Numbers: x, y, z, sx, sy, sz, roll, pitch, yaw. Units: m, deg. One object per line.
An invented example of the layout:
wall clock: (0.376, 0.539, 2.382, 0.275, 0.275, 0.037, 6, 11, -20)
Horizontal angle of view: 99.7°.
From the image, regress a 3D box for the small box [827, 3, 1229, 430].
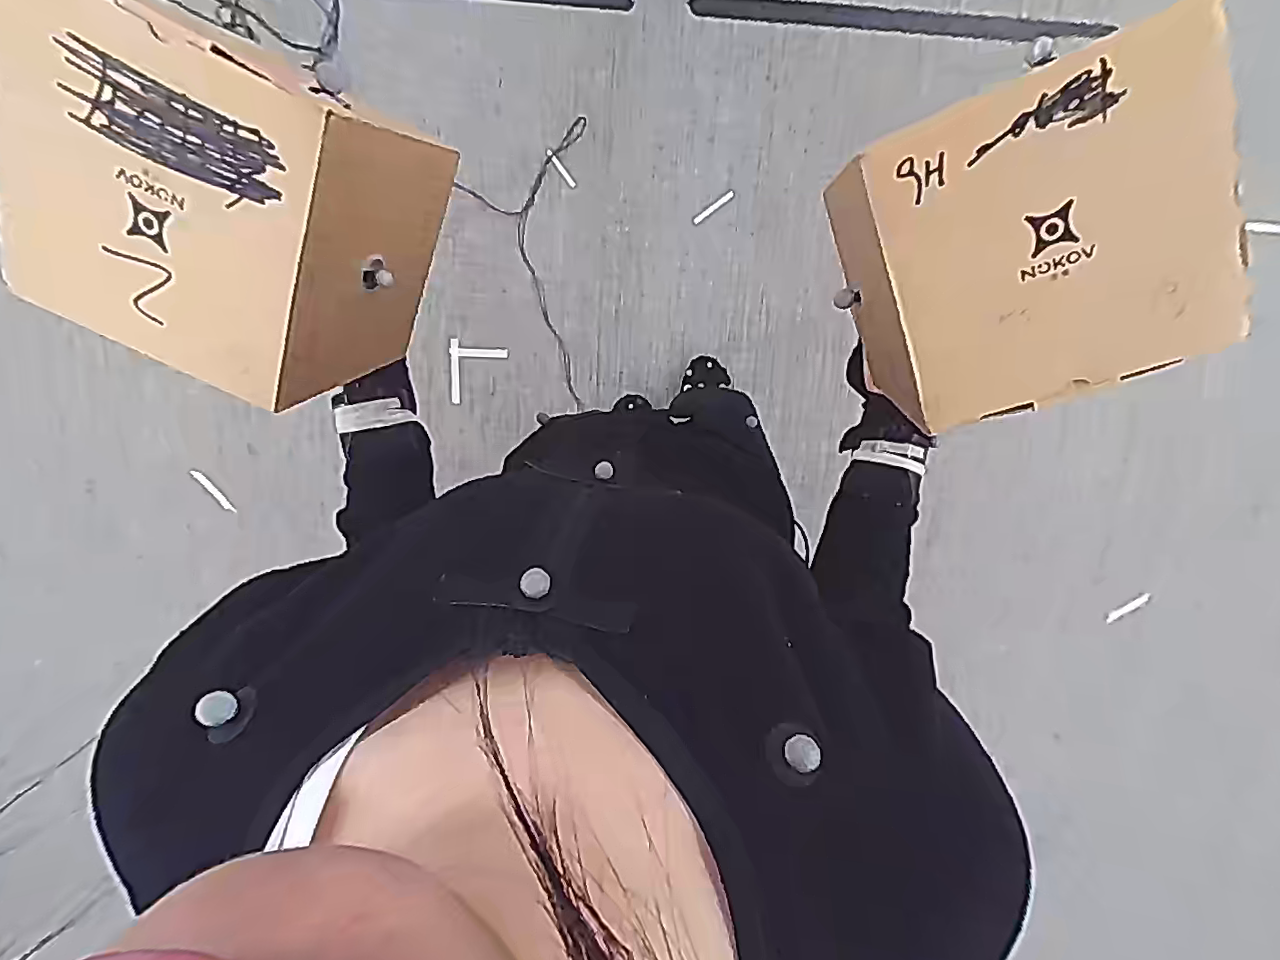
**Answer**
small box: (0.241, -0.160, 0.376, 0.168, 0.176, 0.179, -18, 107, 17)
